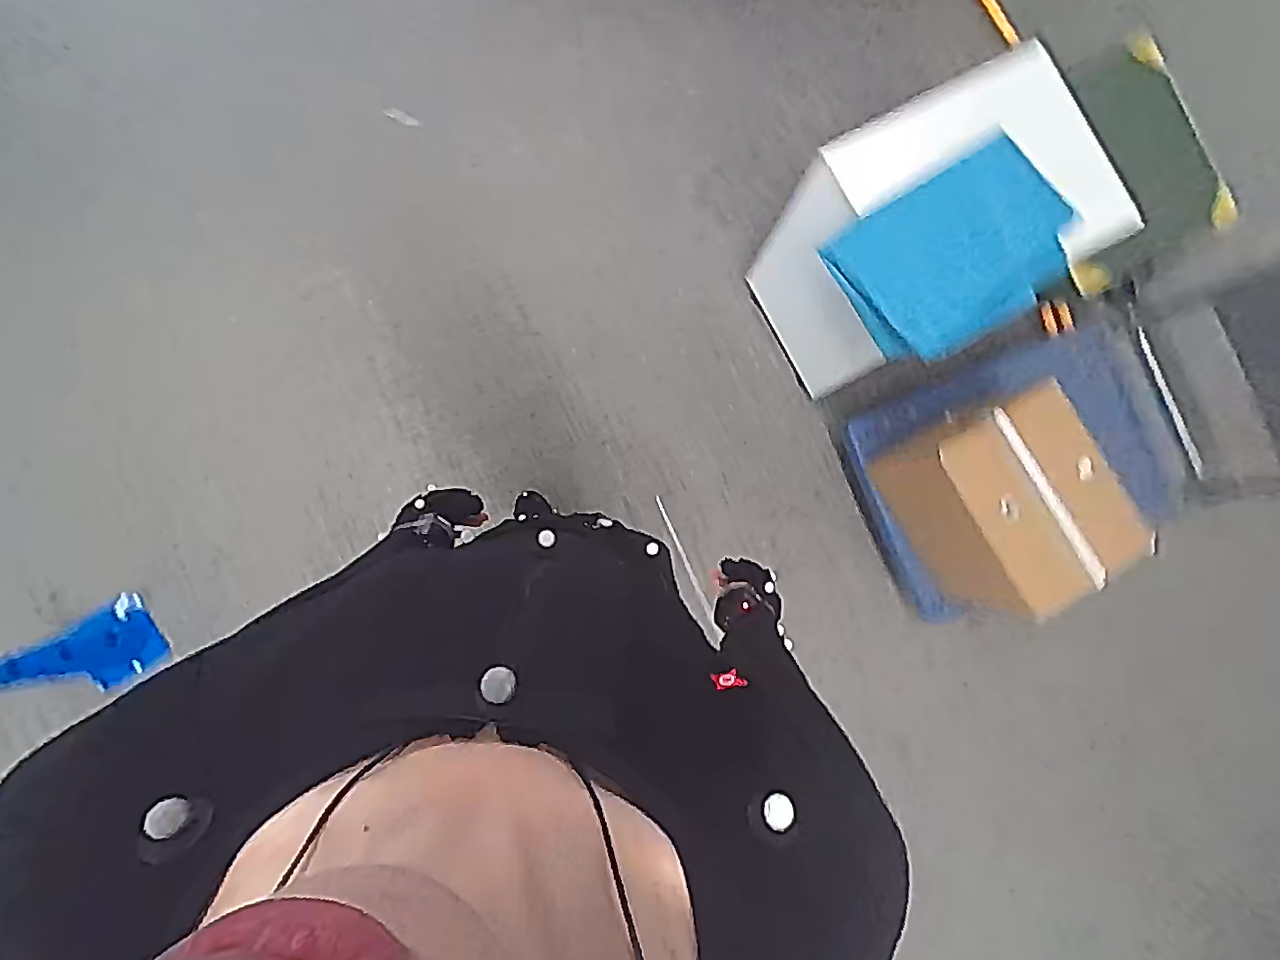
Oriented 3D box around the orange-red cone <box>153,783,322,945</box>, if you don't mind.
[{"bbox_3d":[-0.955,0.914,1.246,0.199,0.360,0.198,-42,89,-4],"label":"orange-red cone"}]
